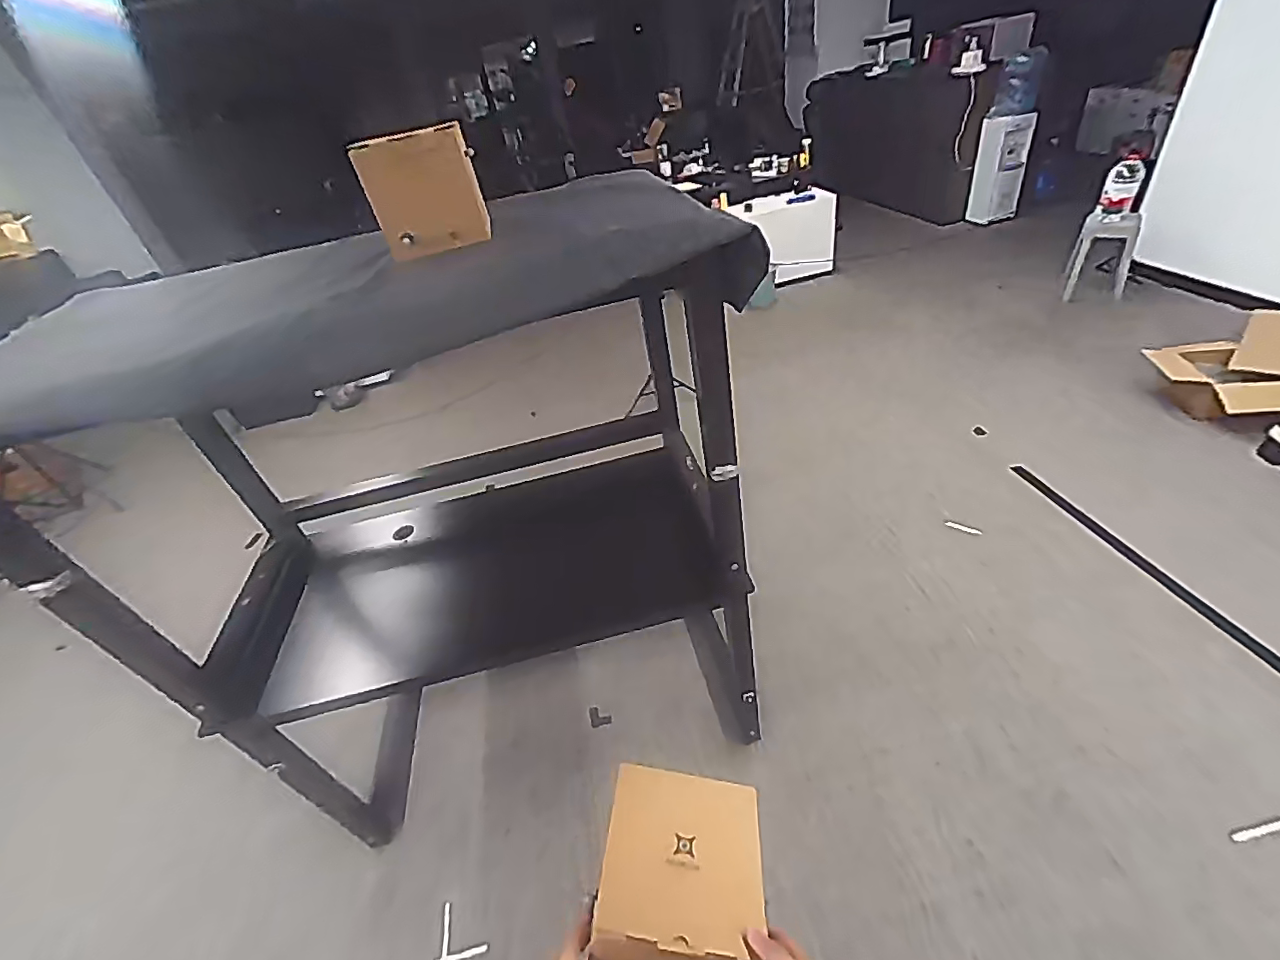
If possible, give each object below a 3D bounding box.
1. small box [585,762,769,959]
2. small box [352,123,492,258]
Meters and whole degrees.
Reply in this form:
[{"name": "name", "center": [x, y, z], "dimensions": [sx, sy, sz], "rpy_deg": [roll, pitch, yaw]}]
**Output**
[{"name": "small box", "center": [0.036, 0.459, 0.601], "dimensions": [0.168, 0.176, 0.179], "rpy_deg": [9, 26, 3]}, {"name": "small box", "center": [-0.363, -0.498, 0.936], "dimensions": [0.168, 0.176, 0.179], "rpy_deg": [-16, 37, -5]}]
